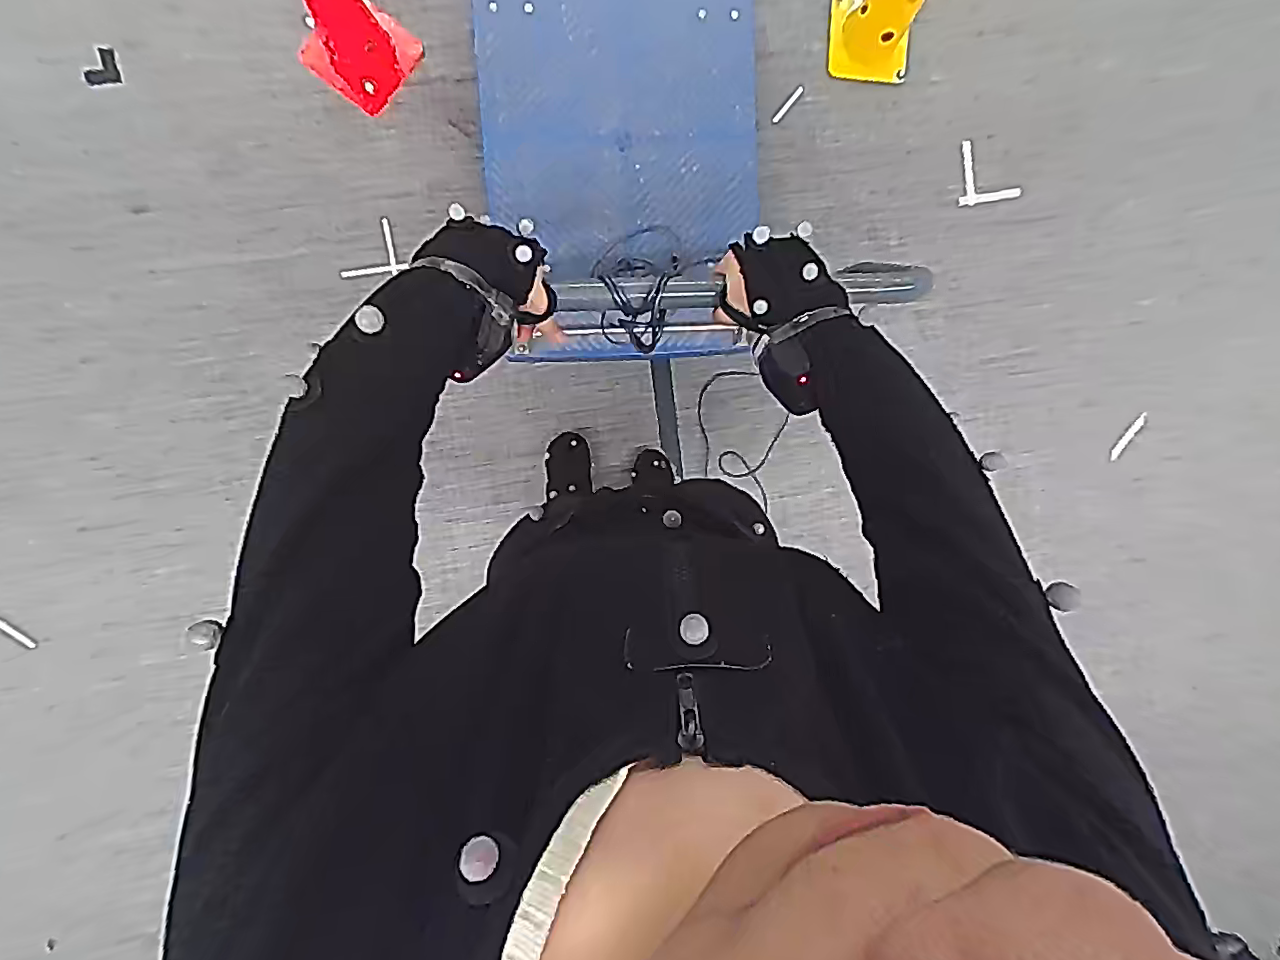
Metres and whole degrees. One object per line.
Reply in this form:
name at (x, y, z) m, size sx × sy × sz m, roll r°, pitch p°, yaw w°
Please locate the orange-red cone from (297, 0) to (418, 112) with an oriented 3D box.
orange-red cone at (-0.592, -0.923, 1.014) m, size 0.198 × 0.360 × 0.199 m, roll 37°, pitch 90°, yaw -10°
